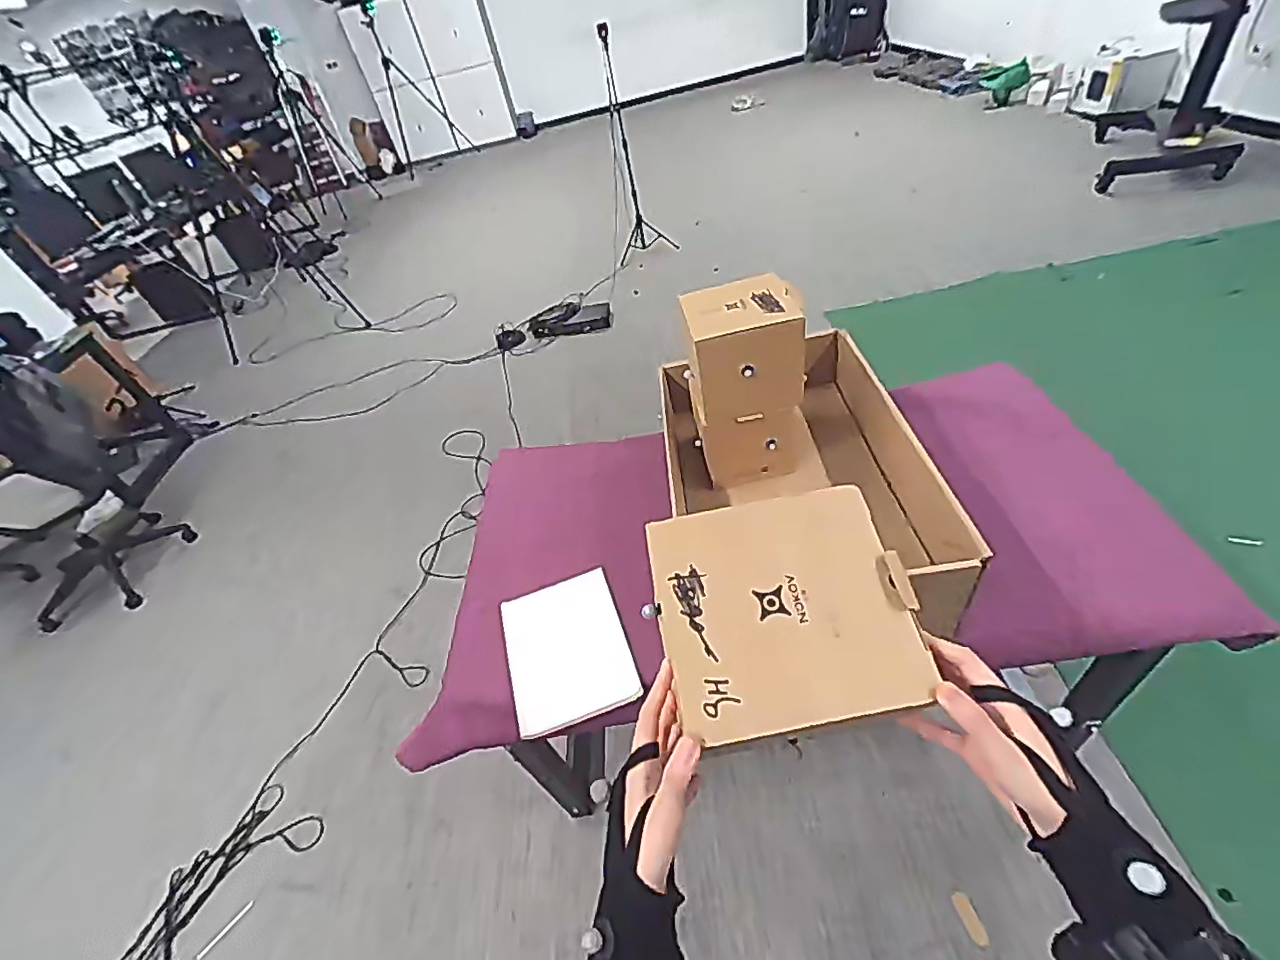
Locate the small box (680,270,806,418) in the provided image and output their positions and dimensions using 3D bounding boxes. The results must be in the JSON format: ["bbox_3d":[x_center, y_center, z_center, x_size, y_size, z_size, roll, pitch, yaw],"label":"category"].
[{"bbox_3d":[0.175,-0.233,0.937,0.179,0.176,0.168,-12,44,4],"label":"small box"}]

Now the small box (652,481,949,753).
[{"bbox_3d":[0.107,0.122,0.454,0.179,0.176,0.168,-9,59,-2],"label":"small box"}]
